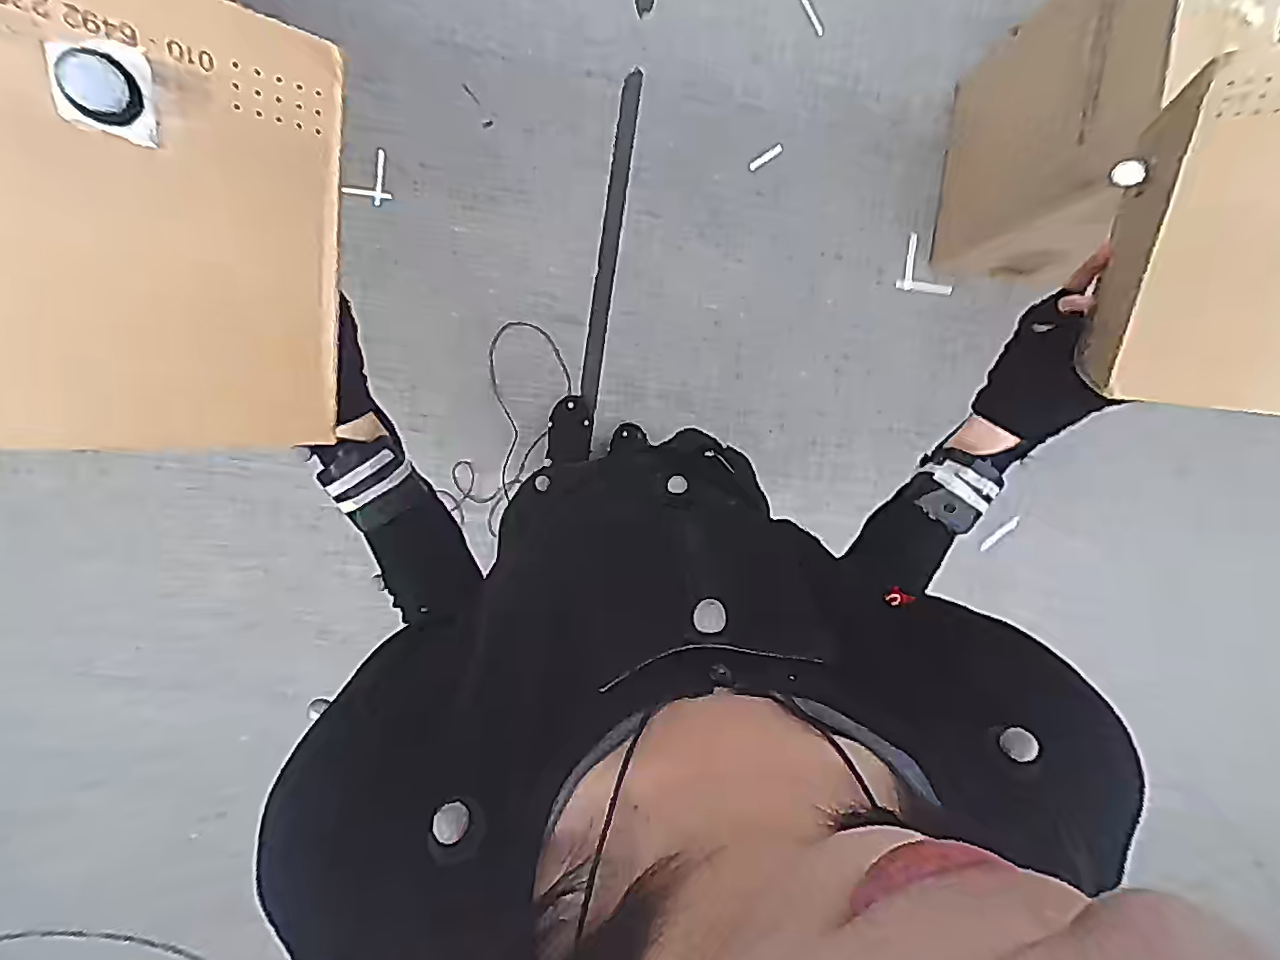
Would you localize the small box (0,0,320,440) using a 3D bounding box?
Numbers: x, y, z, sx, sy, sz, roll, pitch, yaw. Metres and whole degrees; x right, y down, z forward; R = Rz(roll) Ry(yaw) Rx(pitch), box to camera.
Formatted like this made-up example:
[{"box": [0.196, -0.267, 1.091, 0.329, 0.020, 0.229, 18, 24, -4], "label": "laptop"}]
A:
[{"box": [-0.247, -0.128, 0.237, 0.168, 0.179, 0.176, -5, 120, -37], "label": "small box"}]

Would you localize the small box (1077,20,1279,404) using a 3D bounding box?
[{"box": [0.380, -0.139, 0.304, 0.168, 0.179, 0.176, 13, 114, 30], "label": "small box"}]
